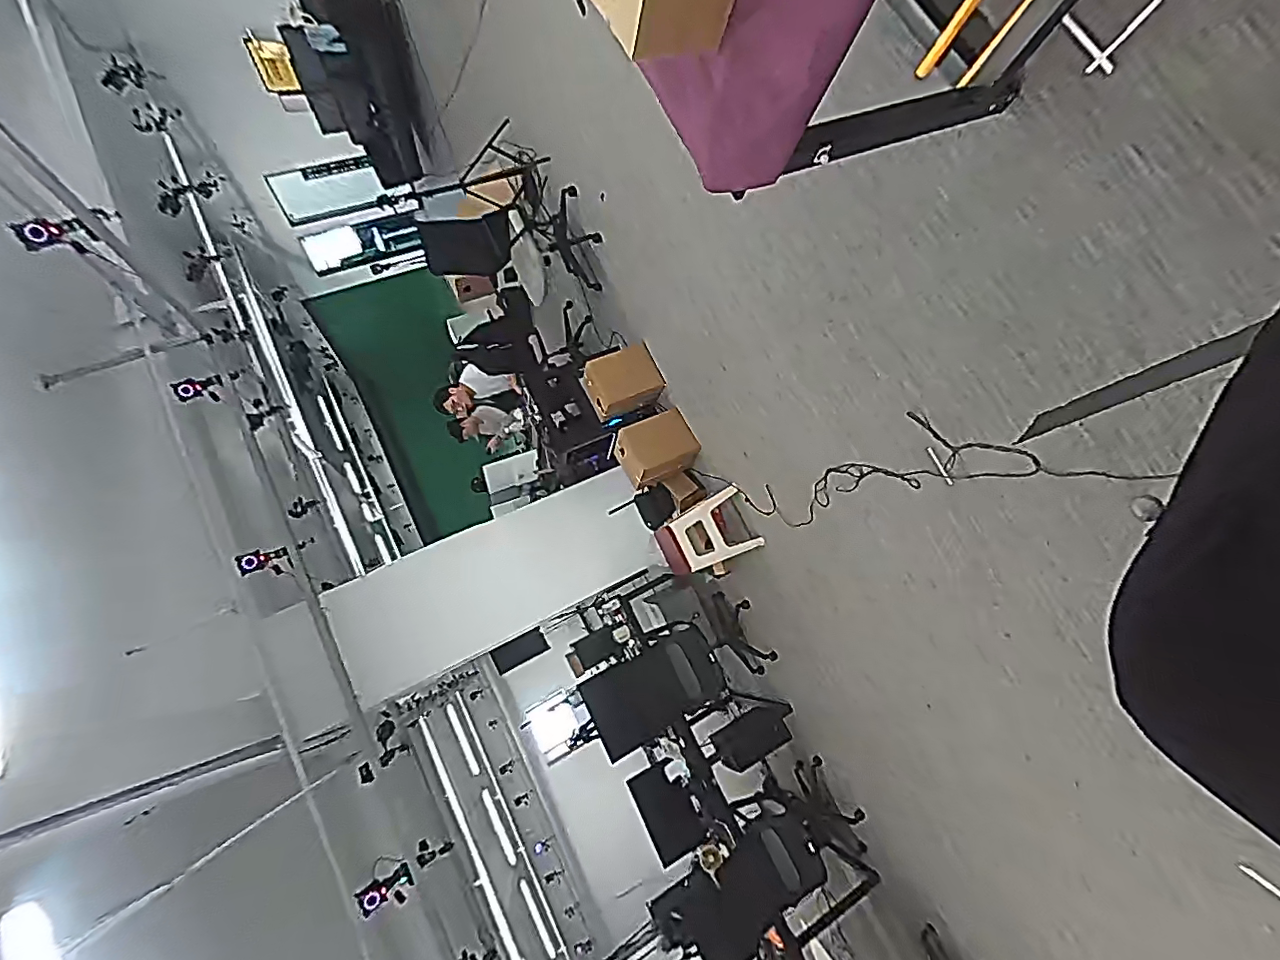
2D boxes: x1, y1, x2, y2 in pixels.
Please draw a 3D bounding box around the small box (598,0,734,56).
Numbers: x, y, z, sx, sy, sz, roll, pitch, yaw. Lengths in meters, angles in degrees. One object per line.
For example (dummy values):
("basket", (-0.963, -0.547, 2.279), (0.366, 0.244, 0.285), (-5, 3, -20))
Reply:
("small box", (0.044, -0.779, 0.796), (0.168, 0.176, 0.179), (62, 160, 13))
